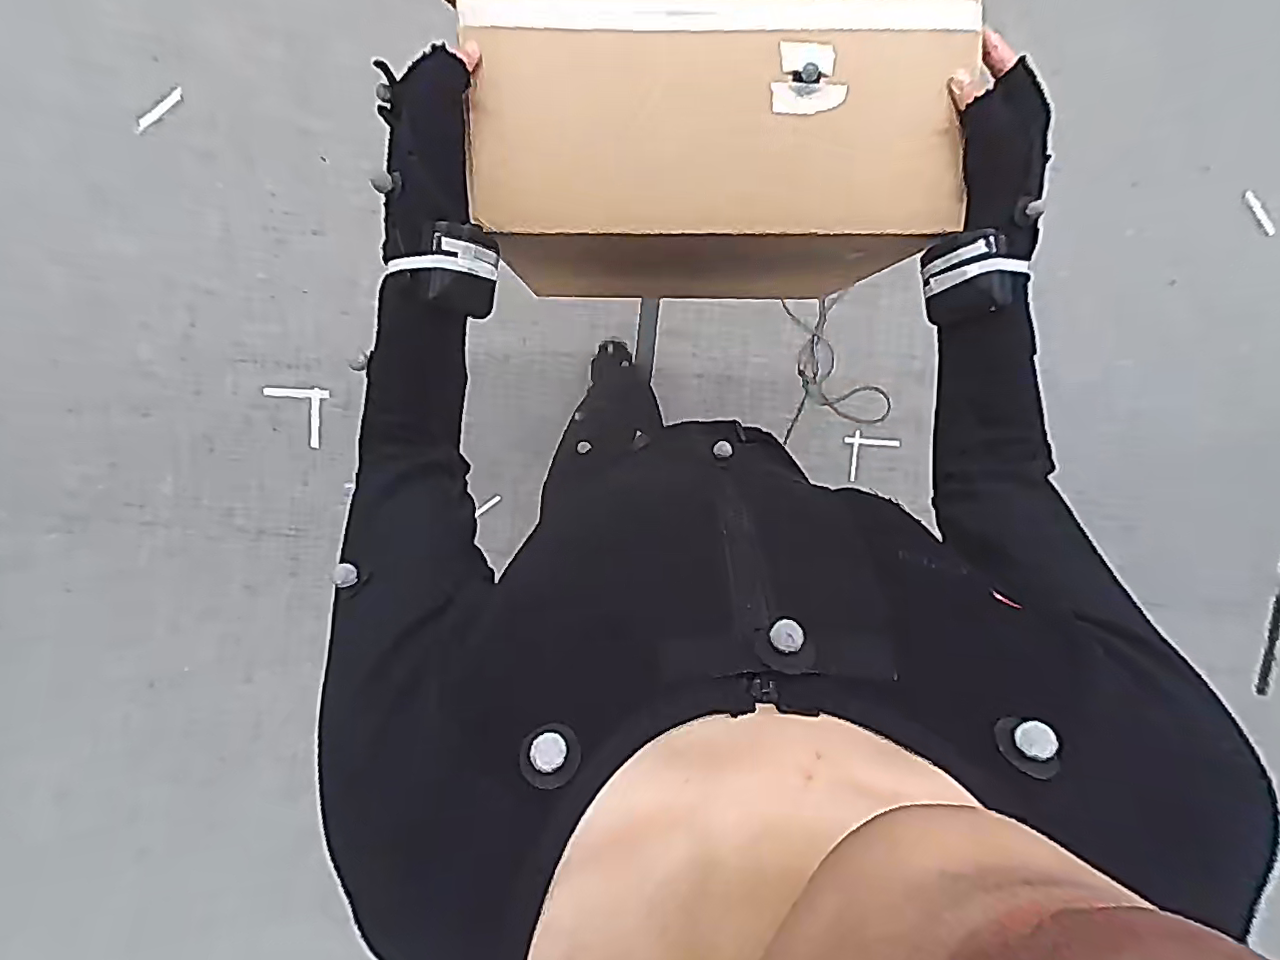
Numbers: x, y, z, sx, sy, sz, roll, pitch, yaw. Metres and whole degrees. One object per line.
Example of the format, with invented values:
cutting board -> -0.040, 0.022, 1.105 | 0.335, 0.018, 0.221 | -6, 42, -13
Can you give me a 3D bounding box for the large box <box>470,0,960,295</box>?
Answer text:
large box -> 0.055, -0.390, 0.584 | 0.408, 0.320, 0.320 | -1, 100, -2
